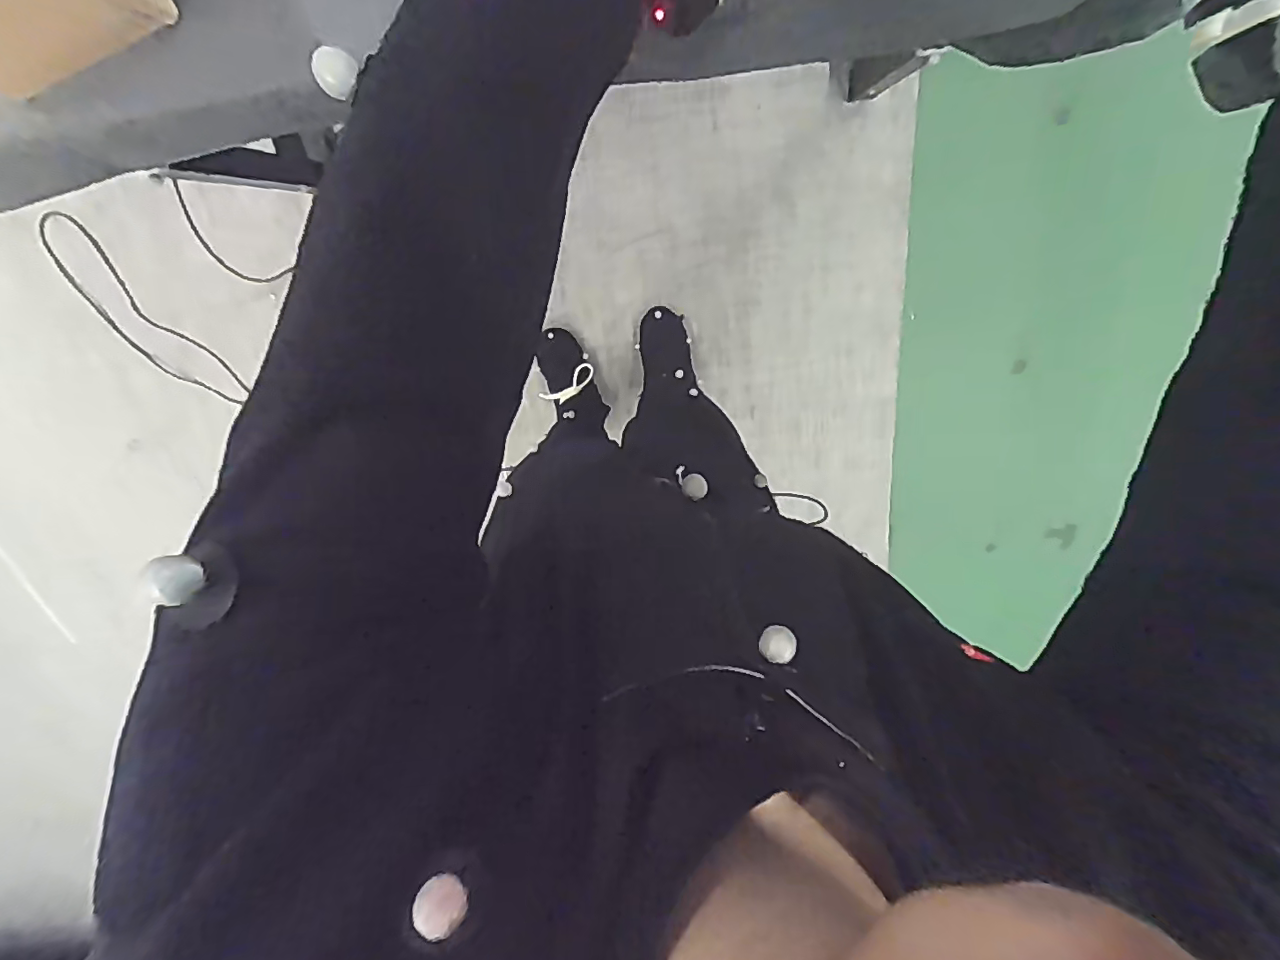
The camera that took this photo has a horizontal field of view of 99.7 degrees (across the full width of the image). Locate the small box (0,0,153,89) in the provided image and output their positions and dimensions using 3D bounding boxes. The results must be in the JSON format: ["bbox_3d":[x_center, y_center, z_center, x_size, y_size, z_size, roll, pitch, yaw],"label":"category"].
[{"bbox_3d":[-0.481,-0.394,0.350,0.179,0.176,0.168,-16,111,9],"label":"small box"}]
